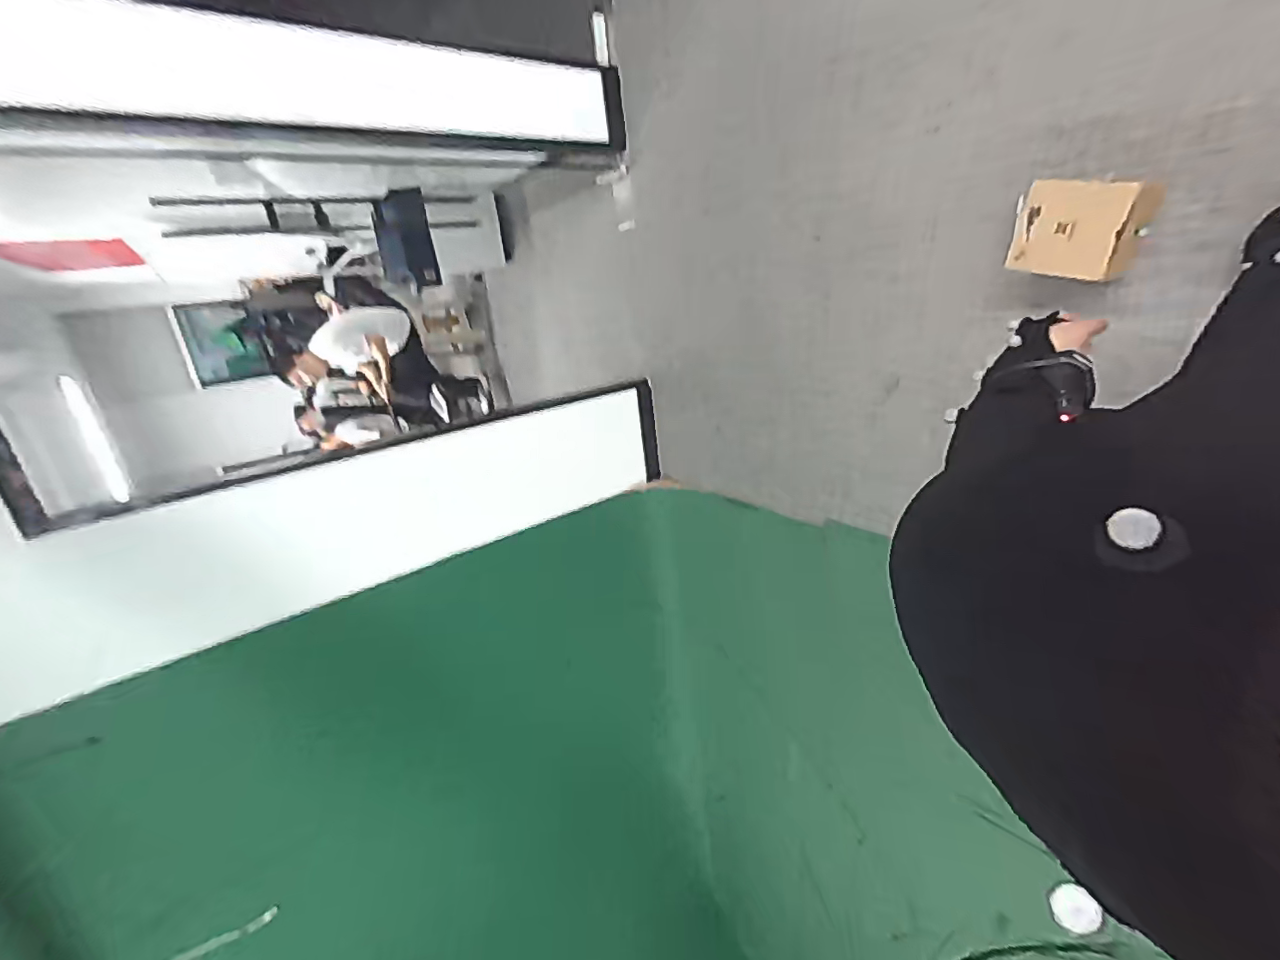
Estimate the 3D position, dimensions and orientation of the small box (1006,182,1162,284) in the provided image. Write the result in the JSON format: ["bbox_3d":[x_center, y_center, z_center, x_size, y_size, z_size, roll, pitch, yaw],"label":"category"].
[{"bbox_3d":[0.884,-0.498,1.079,0.179,0.176,0.168,33,132,42],"label":"small box"}]
